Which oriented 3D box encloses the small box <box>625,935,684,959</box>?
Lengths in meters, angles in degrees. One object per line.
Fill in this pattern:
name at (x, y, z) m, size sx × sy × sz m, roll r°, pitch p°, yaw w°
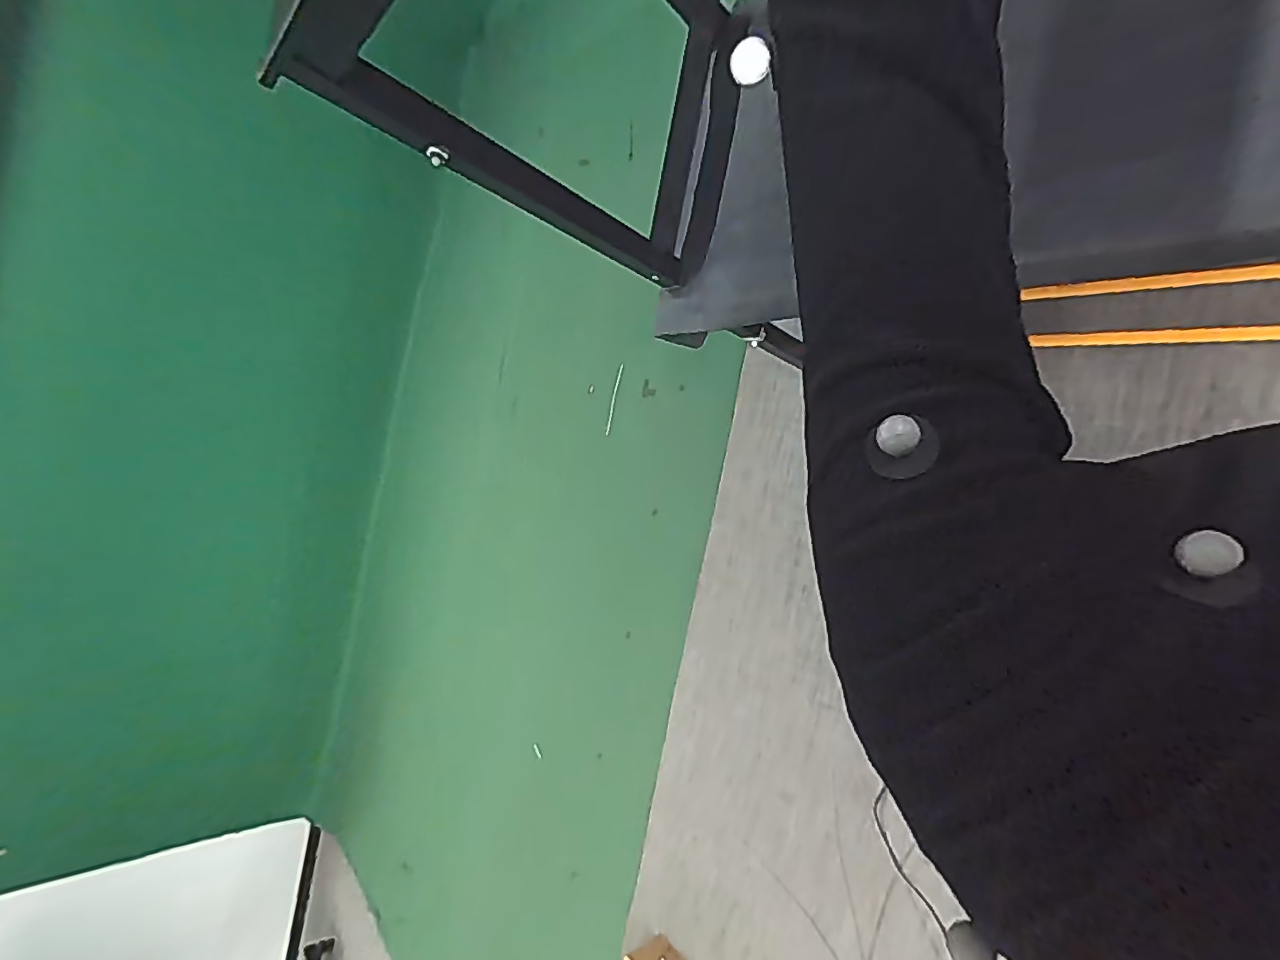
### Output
small box at (0.050, 1.617, 1.722) m, size 0.168 × 0.176 × 0.179 m, roll 14°, pitch 92°, yaw 47°
